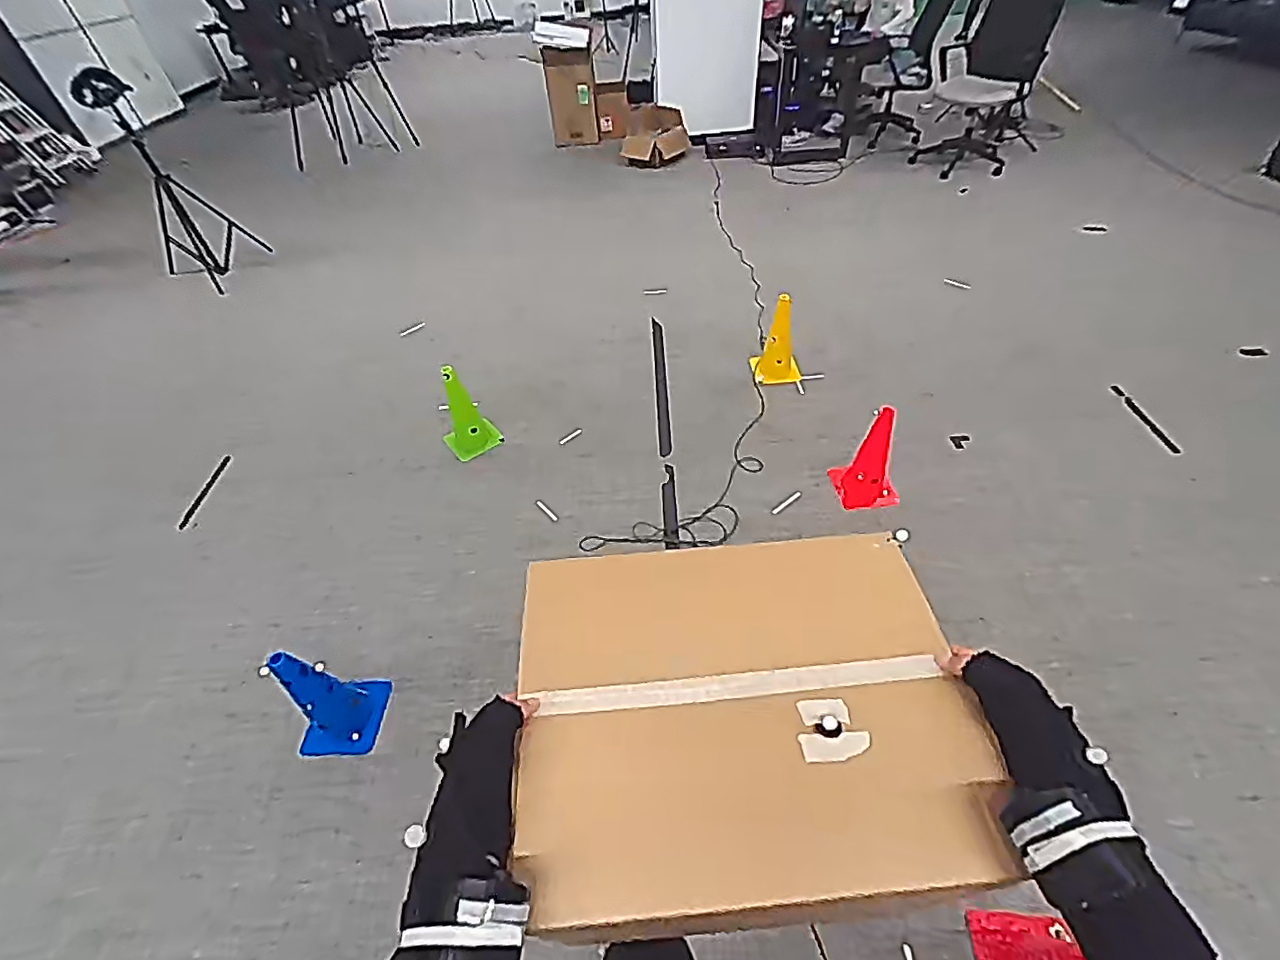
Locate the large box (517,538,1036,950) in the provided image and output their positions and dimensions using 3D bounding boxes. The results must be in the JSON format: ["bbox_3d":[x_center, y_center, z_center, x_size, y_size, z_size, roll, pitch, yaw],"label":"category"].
[{"bbox_3d":[0.094,0.295,0.608,0.408,0.320,0.320,-4,47,-2],"label":"large box"}]

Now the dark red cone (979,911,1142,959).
[{"bbox_3d":[0.754,0.834,0.901,0.201,0.394,0.202,-1,46,7],"label":"dark red cone"}]

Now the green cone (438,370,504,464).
[{"bbox_3d":[-0.708,-0.277,2.132,0.202,0.368,0.200,-34,52,-22],"label":"green cone"}]

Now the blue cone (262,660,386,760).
[{"bbox_3d":[-0.824,0.557,1.375,0.192,0.380,0.193,-3,46,5],"label":"blue cone"}]

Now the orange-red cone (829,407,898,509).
[{"bbox_3d":[0.785,-0.094,1.812,0.198,0.360,0.199,-5,45,-1],"label":"orange-red cone"}]
